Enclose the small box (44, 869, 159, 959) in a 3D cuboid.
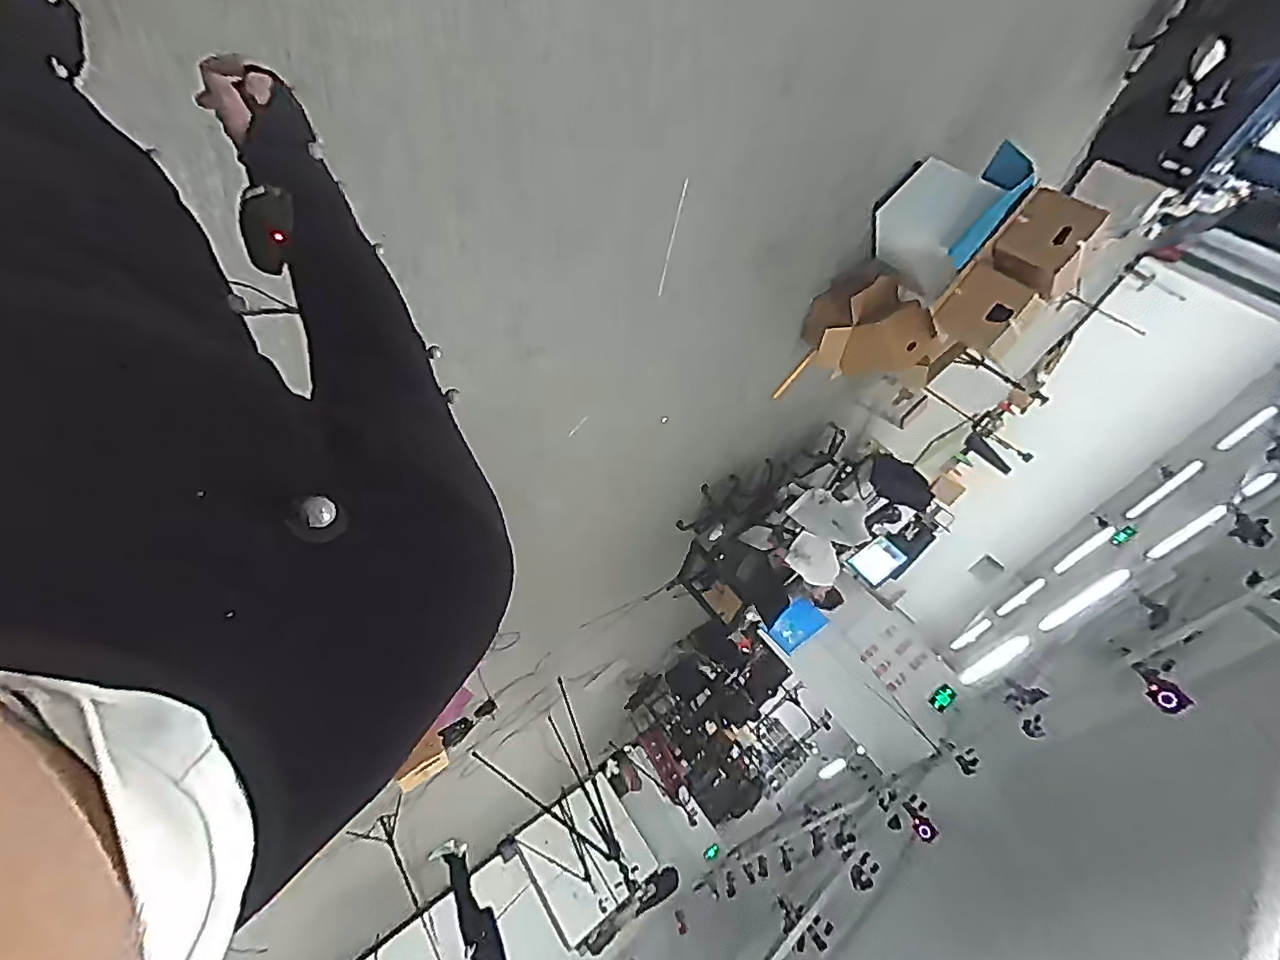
[{"bbox_3d":[-1.463,1.205,1.473,0.168,0.176,0.179,-25,149,-35],"label":"small box"}]
